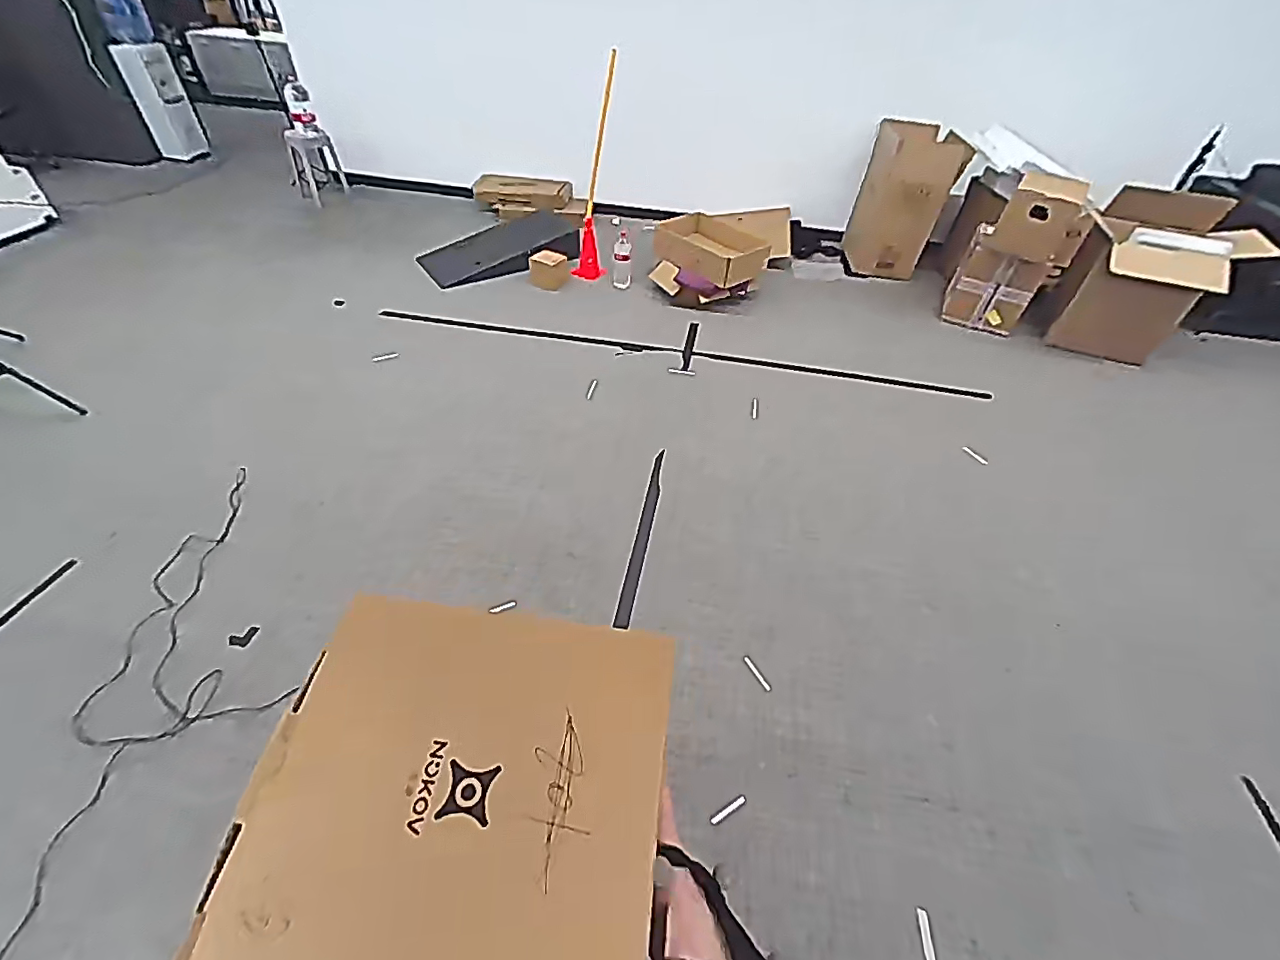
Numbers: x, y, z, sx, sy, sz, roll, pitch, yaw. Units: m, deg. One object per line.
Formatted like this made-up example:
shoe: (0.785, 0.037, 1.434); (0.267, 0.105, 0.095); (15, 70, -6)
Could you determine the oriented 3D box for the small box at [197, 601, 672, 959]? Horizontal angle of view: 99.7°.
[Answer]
small box: (-0.082, 0.188, 0.313); (0.179, 0.176, 0.168); (7, 54, 1)
